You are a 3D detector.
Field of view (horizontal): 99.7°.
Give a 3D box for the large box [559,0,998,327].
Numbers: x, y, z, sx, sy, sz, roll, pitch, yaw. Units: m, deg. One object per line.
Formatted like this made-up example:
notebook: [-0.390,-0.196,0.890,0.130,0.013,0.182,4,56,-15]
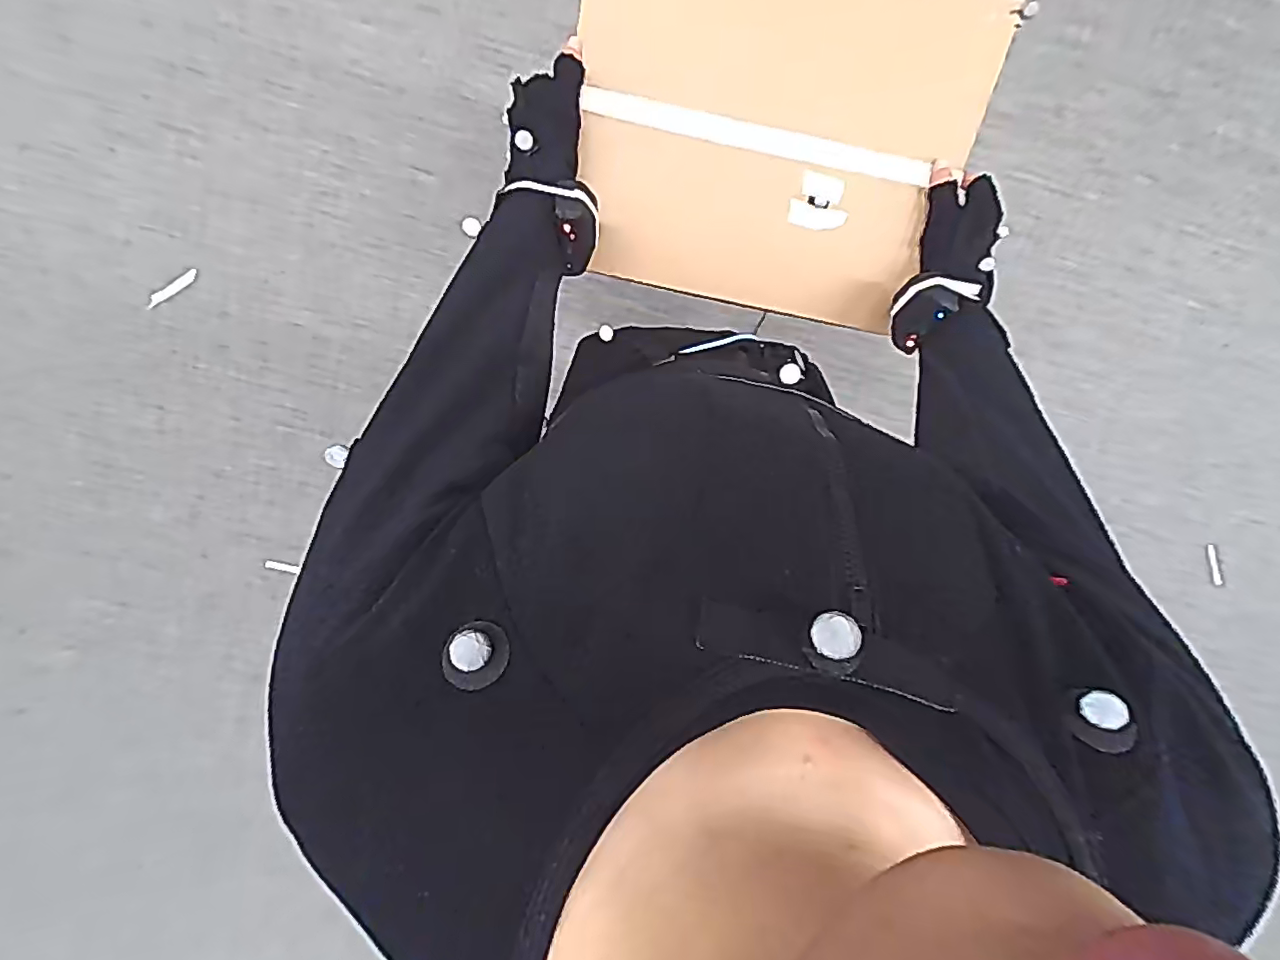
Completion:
large box: [0.127,-0.400,0.703,0.408,0.320,0.320,10,111,-4]
